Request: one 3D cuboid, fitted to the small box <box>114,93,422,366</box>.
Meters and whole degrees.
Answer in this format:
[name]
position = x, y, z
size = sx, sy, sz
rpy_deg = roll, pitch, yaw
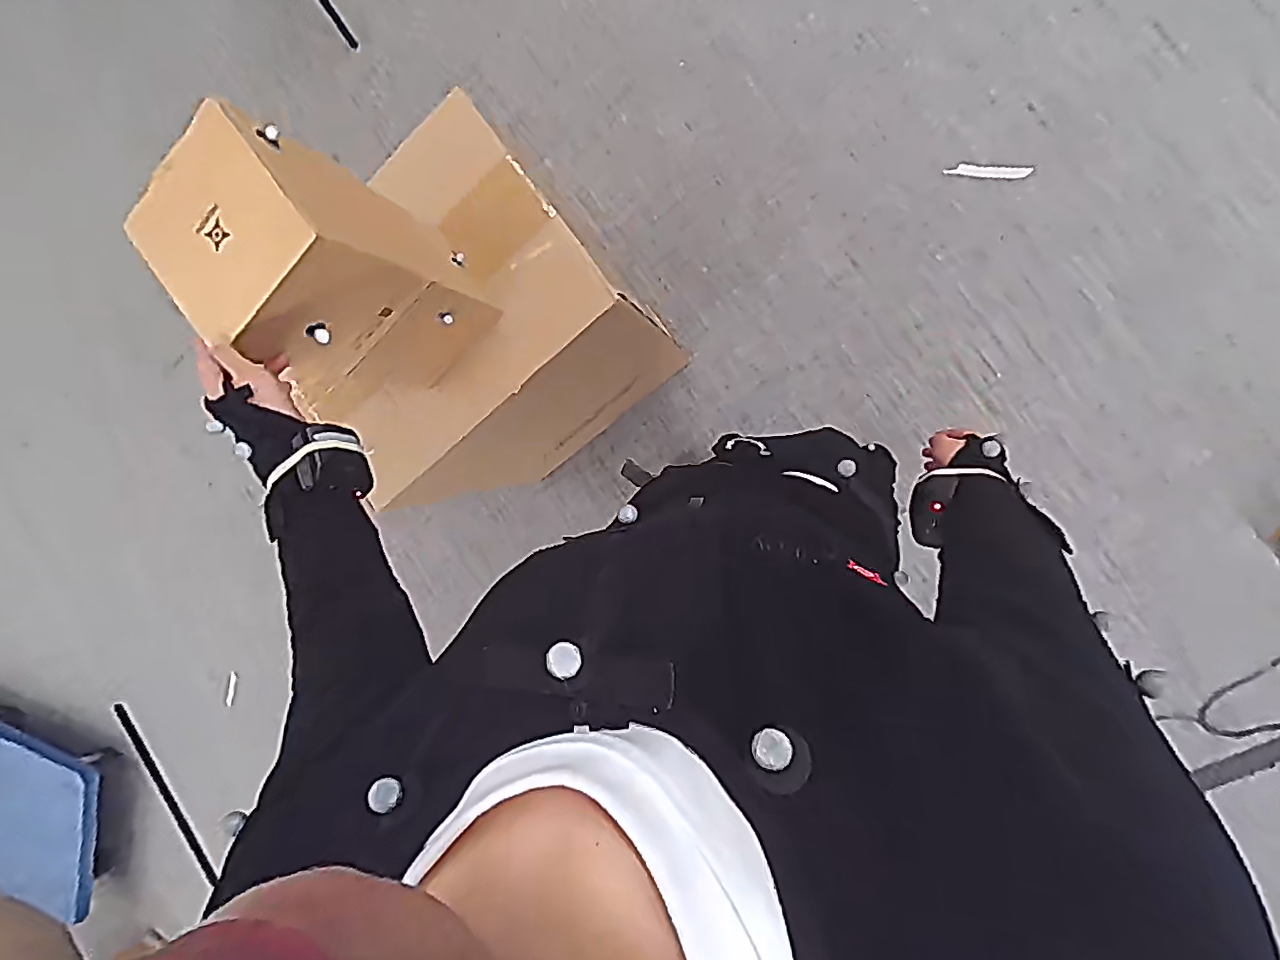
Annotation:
[small box]
position = -0.371, -0.236, 0.567
size = 0.168, 0.176, 0.179
rpy_deg = -40, 84, 15
